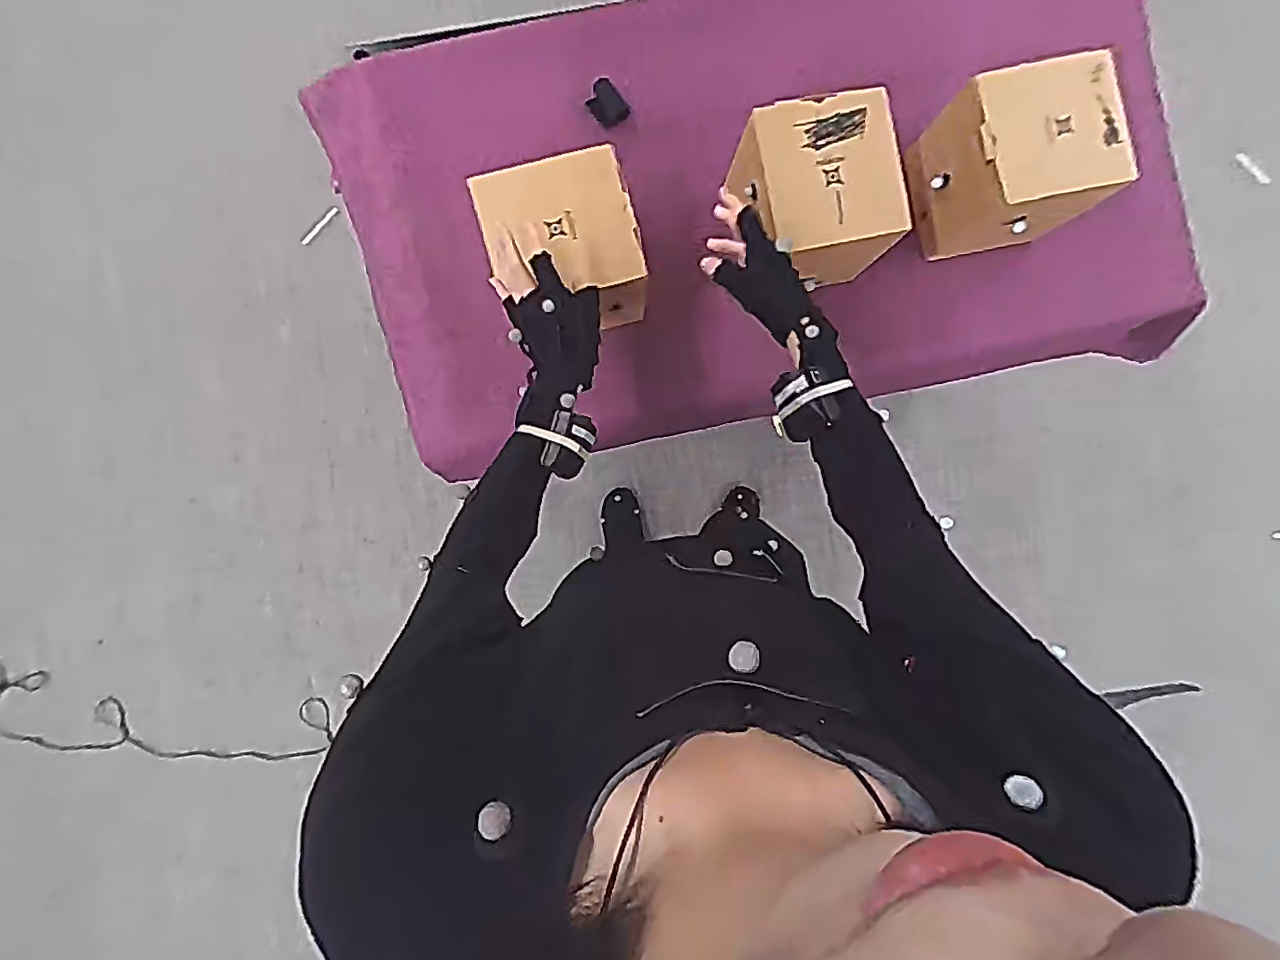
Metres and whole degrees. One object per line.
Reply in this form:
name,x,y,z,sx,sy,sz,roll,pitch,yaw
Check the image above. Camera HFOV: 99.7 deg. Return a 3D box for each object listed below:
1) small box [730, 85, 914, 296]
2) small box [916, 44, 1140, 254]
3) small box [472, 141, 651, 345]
small box,0.226,-0.370,0.719,0.168,0.176,0.179,-12,90,-2
small box,0.501,-0.429,0.731,0.179,0.176,0.168,-12,90,-1
small box,-0.094,-0.294,0.707,0.179,0.176,0.168,-16,89,-1
